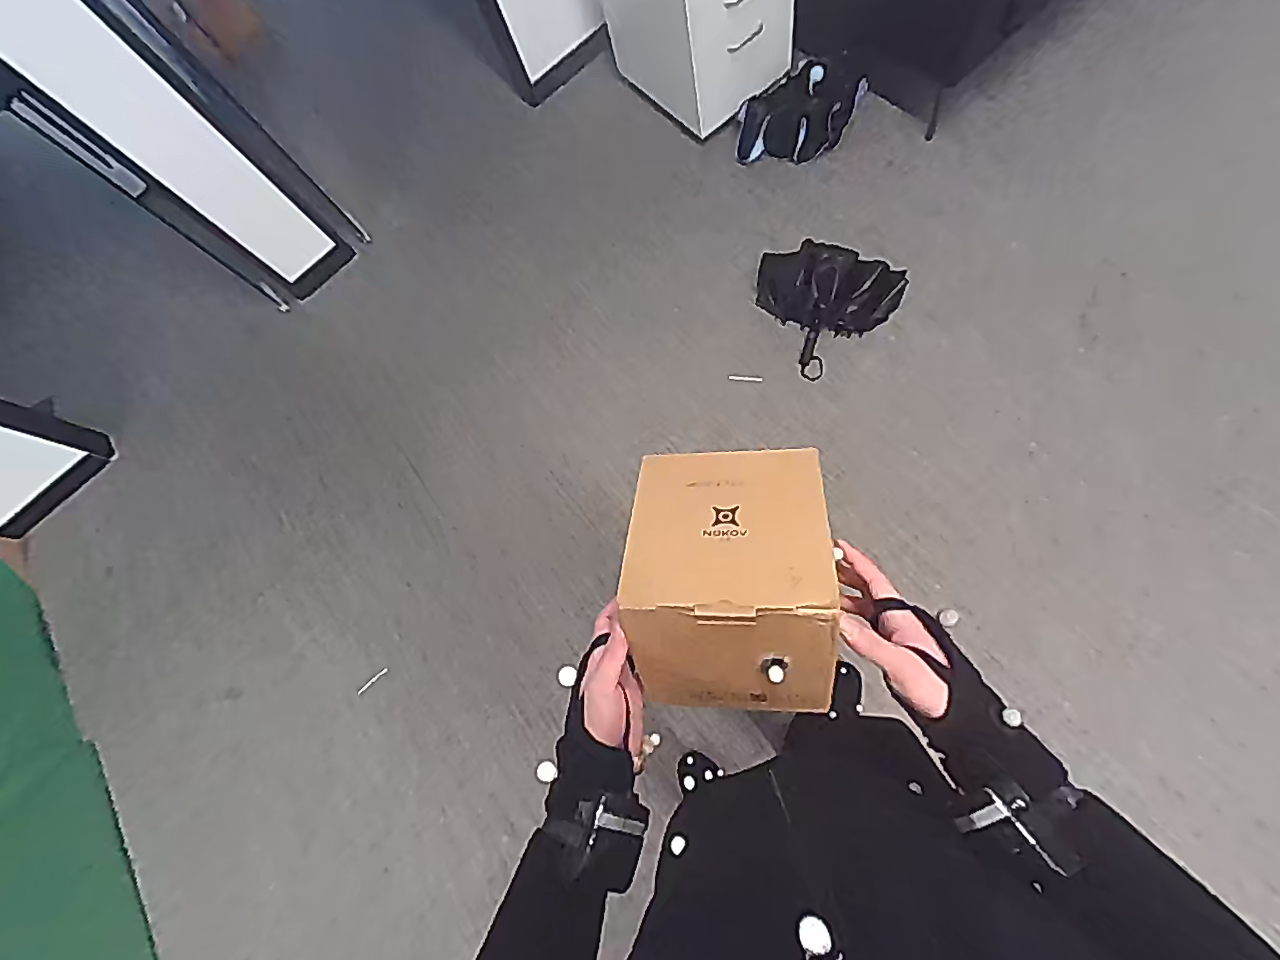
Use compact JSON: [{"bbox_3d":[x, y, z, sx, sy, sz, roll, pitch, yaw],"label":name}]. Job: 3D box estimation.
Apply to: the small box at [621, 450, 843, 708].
[{"bbox_3d":[0.088,0.092,0.505,0.168,0.176,0.179,-1,42,11],"label":"small box"}]
